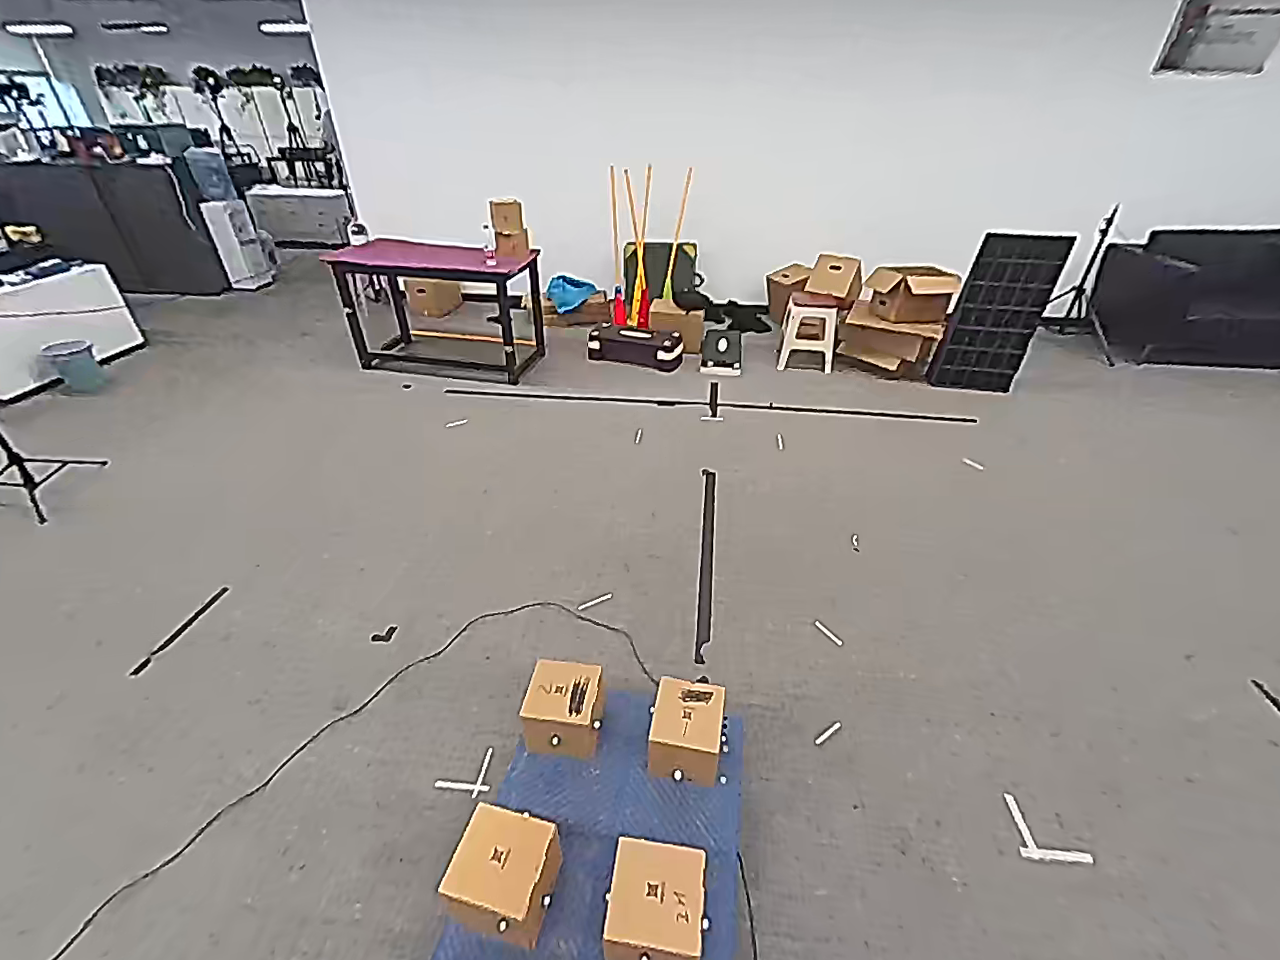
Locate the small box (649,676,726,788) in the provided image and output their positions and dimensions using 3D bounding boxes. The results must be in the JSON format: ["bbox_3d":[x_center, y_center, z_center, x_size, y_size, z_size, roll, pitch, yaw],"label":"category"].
[{"bbox_3d":[0.116,0.627,1.347,0.168,0.176,0.179,7,36,10],"label":"small box"}]

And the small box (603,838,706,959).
[{"bbox_3d":[0.031,0.833,1.049,0.179,0.176,0.168,5,35,7],"label":"small box"}]

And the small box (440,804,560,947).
[{"bbox_3d":[-0.274,0.800,1.095,0.179,0.176,0.168,10,35,10],"label":"small box"}]
